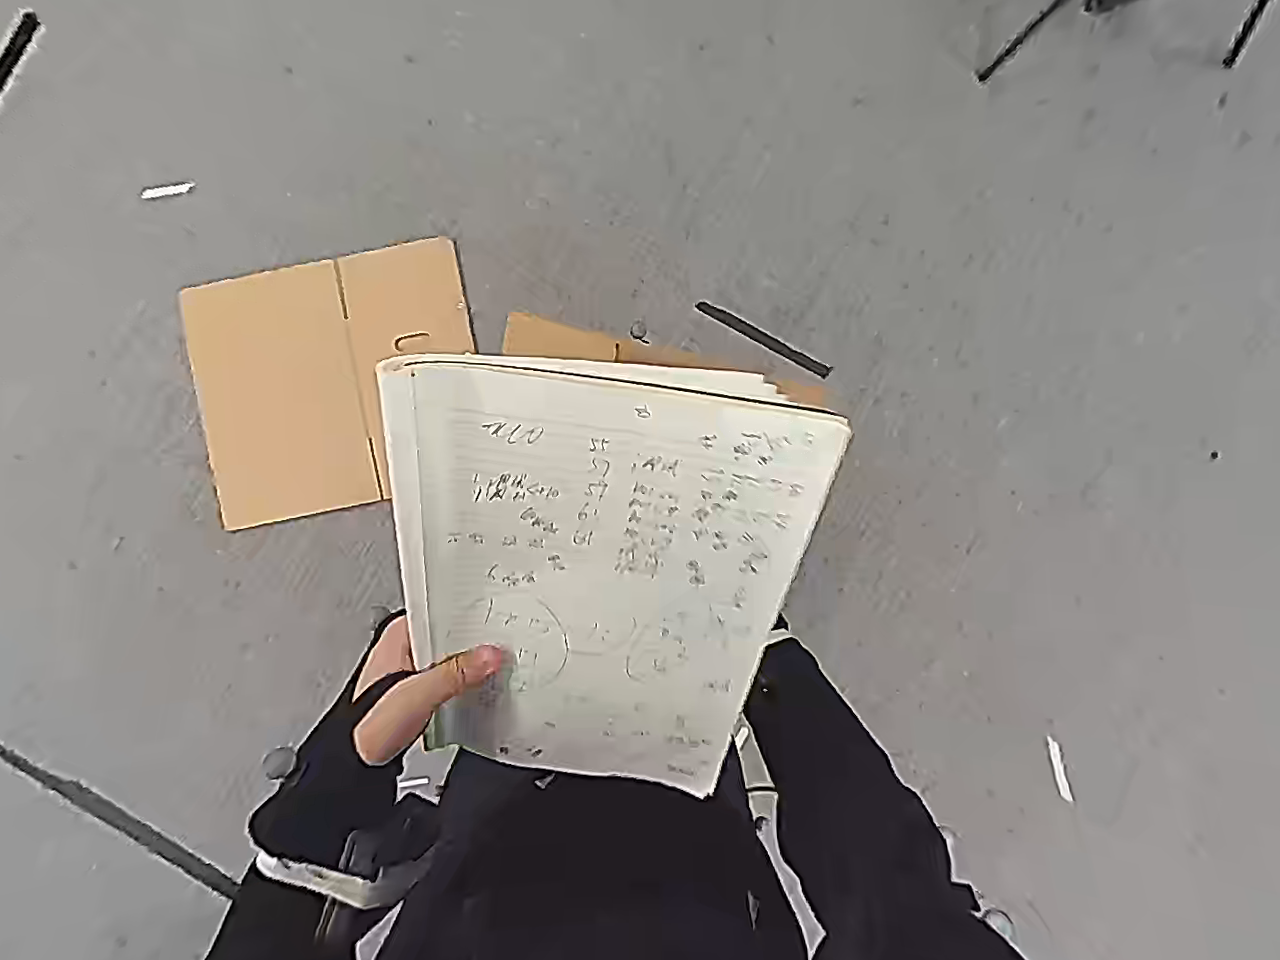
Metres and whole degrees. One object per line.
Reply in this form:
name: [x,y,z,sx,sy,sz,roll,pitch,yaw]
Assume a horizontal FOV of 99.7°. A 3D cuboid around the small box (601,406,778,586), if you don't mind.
small box: [0.067,0.019,0.765,0.168,0.176,0.179,33,92,1]
